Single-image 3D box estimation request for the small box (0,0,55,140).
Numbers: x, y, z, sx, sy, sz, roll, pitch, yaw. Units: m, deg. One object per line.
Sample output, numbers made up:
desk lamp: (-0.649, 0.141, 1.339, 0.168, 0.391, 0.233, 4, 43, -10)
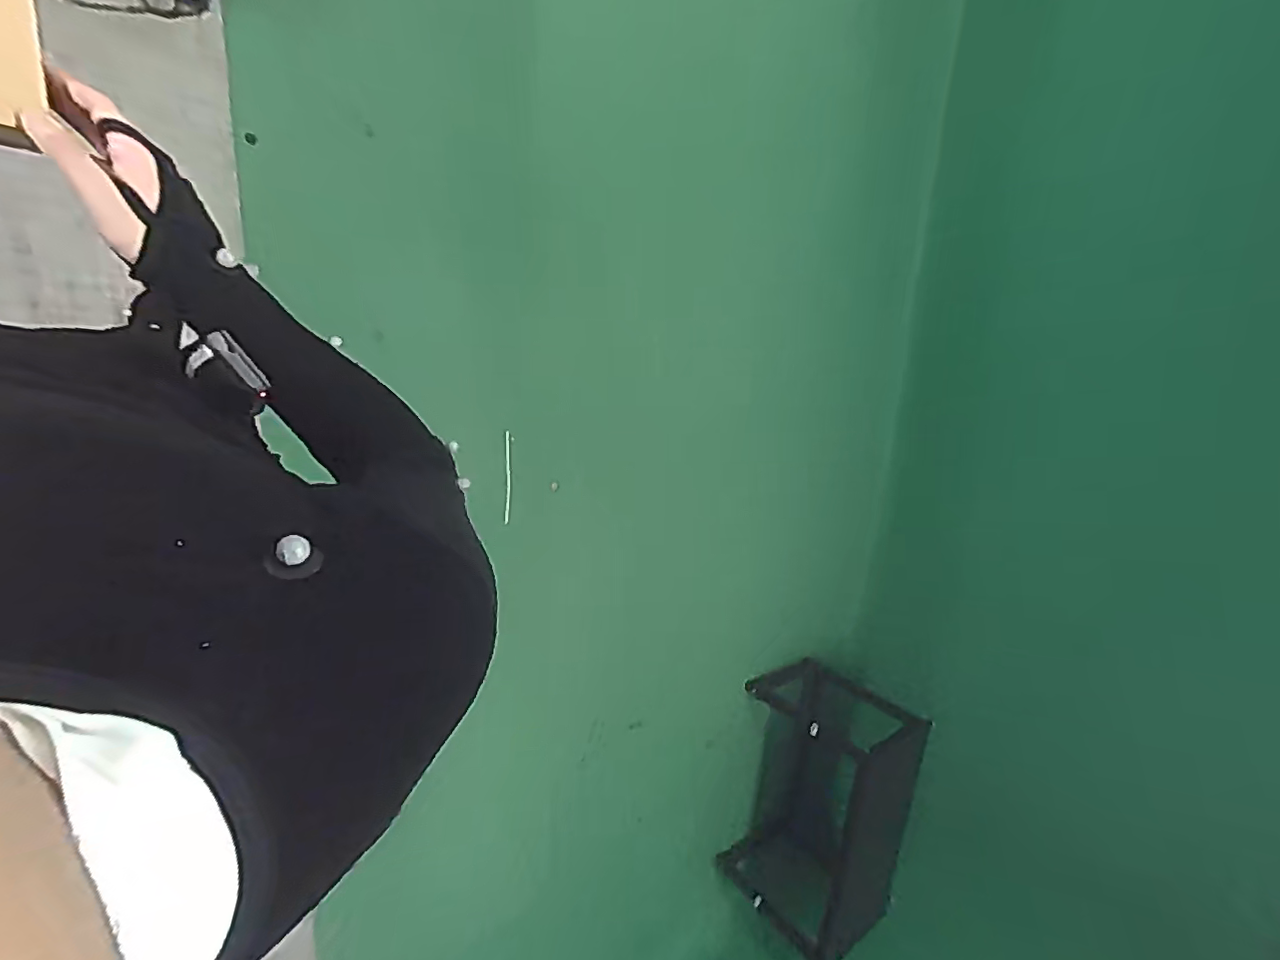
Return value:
small box: (-0.523, -0.353, 0.358, 0.168, 0.176, 0.179, -9, 115, -46)
